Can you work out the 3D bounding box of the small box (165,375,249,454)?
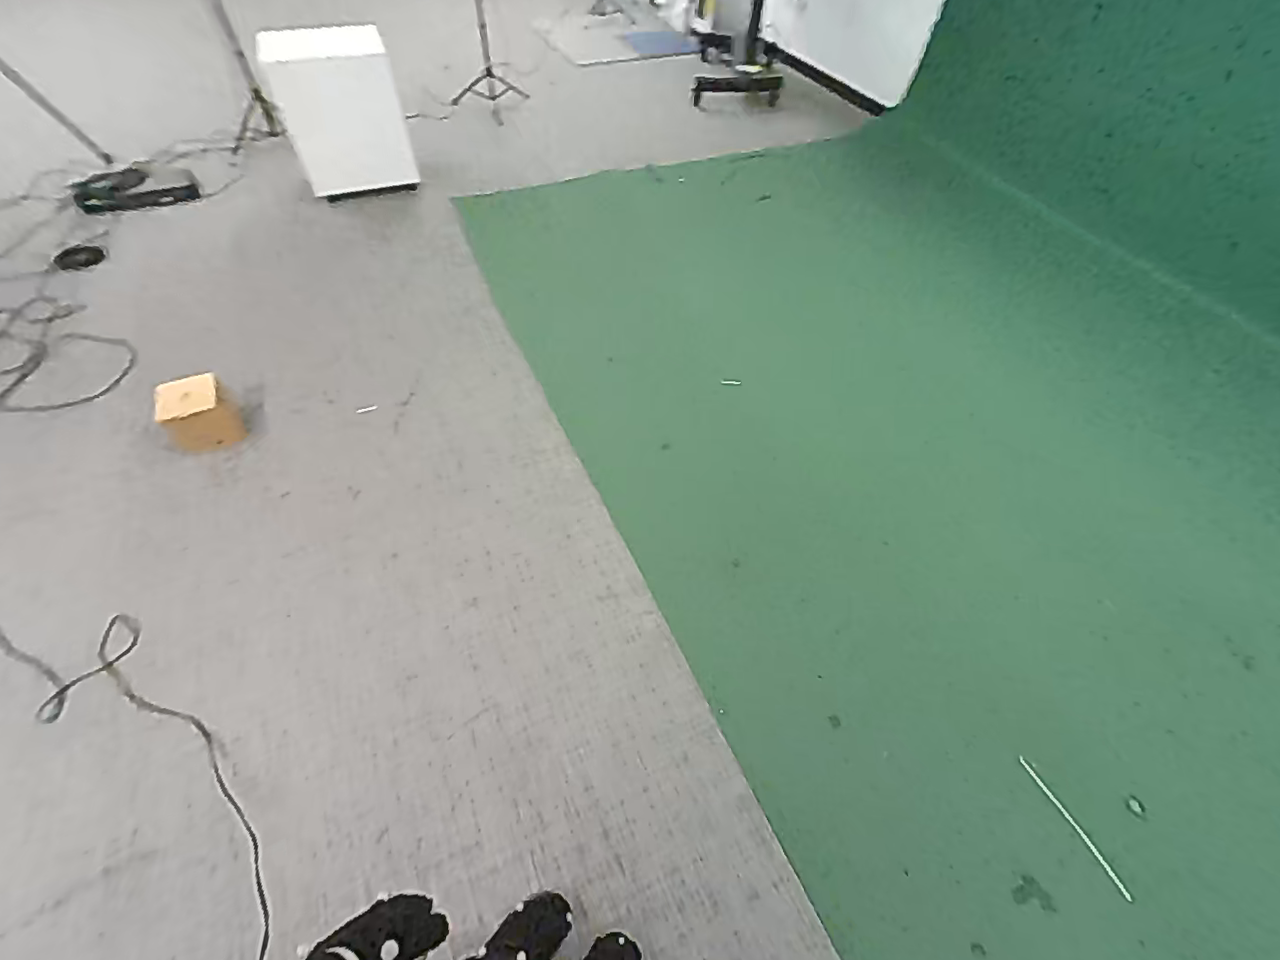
[{"bbox_3d":[-1.443,-0.218,1.811,0.168,0.176,0.179,-19,57,-17],"label":"small box"}]
